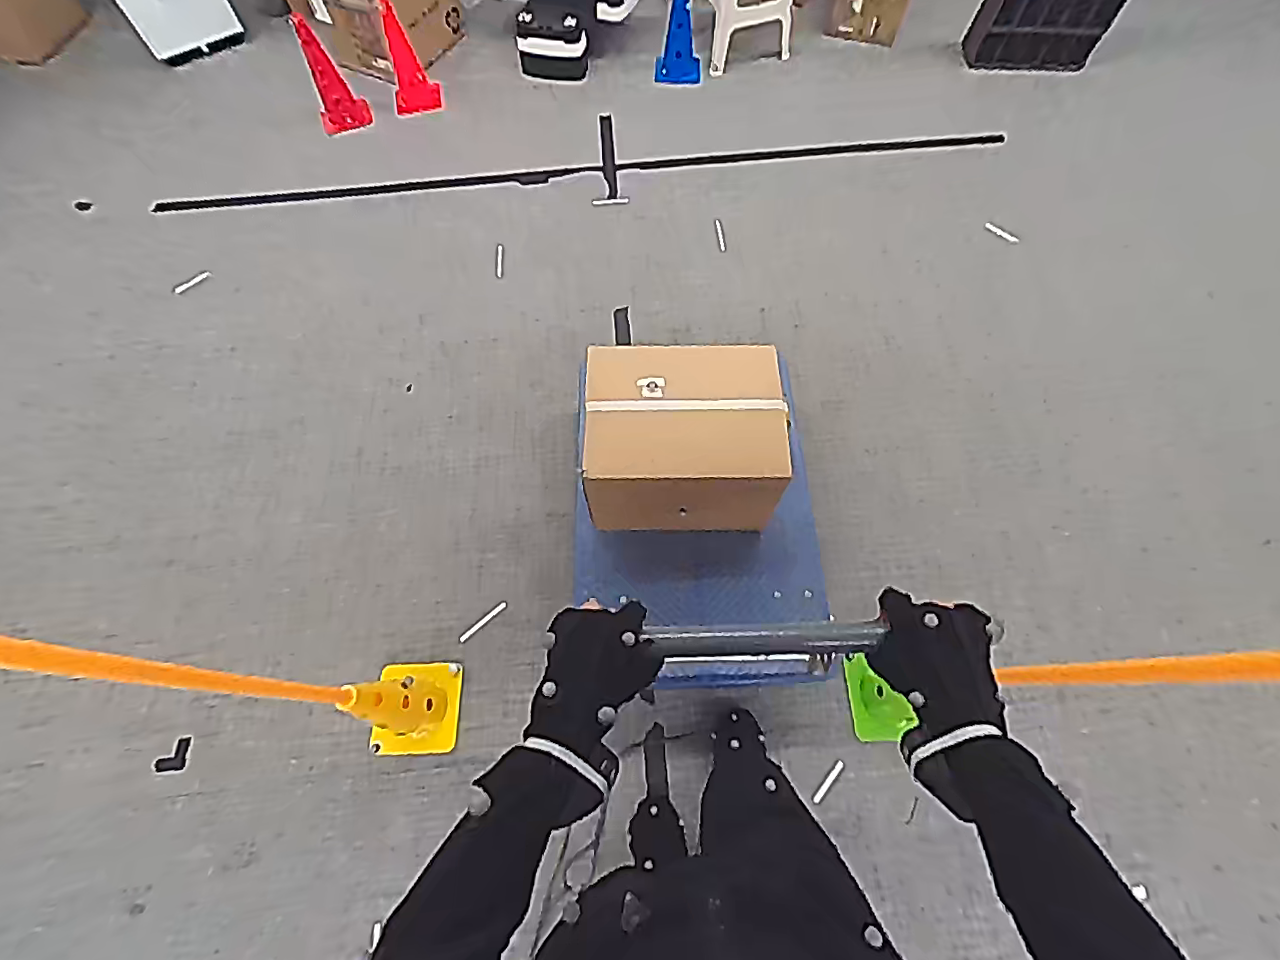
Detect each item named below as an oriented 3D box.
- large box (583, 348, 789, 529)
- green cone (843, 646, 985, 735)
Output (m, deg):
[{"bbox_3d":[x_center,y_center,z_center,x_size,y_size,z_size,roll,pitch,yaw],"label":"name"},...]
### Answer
[{"bbox_3d":[0.092,-0.079,1.233,0.408,0.320,0.320,-1,66,1],"label":"large box"},{"bbox_3d":[0.601,0.429,1.142,0.202,0.368,0.200,-1,65,-1],"label":"green cone"}]
